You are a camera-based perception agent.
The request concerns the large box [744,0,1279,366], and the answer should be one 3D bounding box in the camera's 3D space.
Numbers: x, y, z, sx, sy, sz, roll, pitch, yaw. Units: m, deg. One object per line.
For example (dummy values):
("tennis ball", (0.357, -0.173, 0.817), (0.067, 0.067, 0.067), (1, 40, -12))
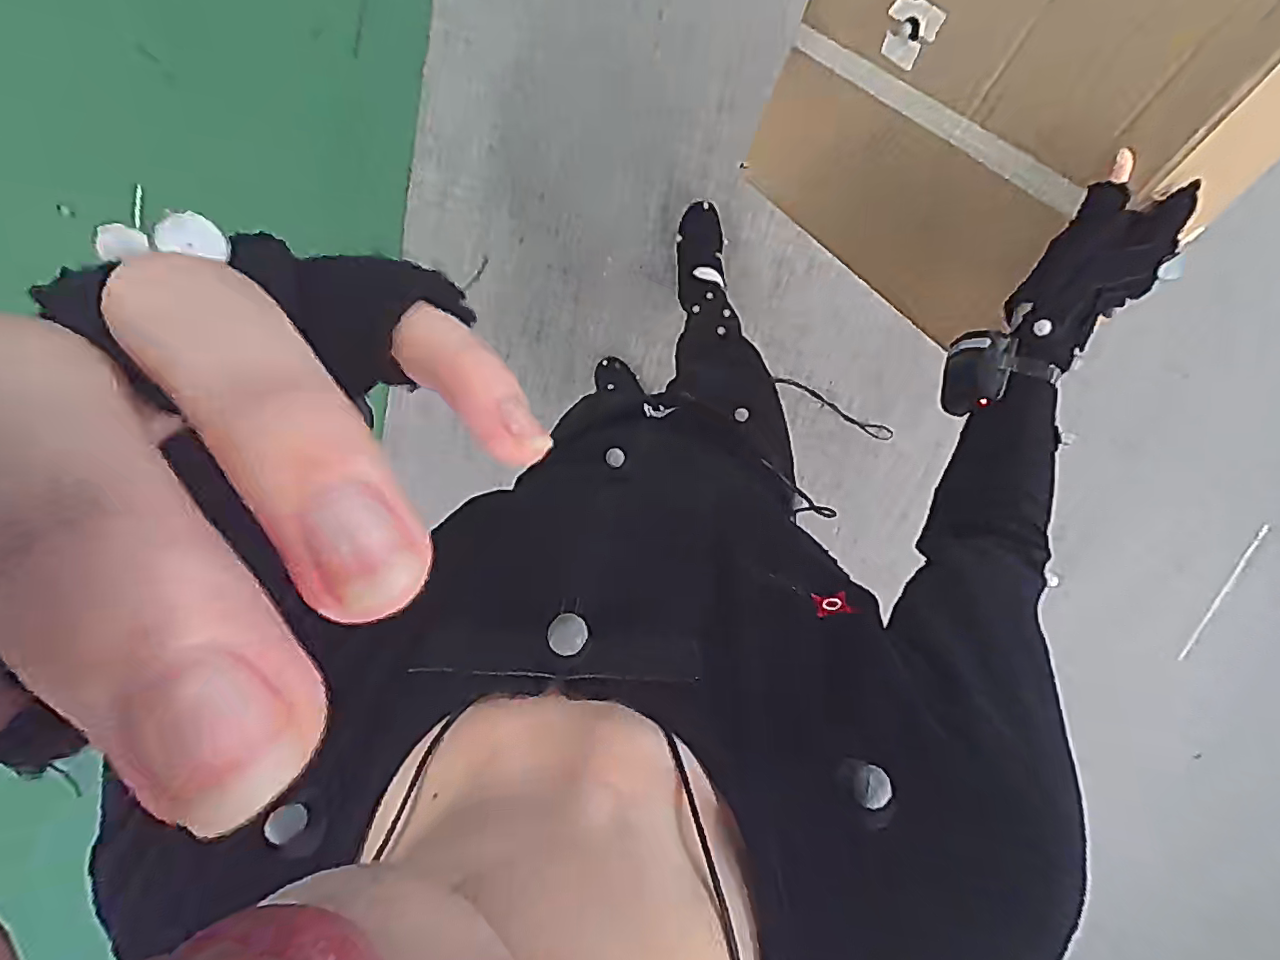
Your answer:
("large box", (0.408, -0.388, 0.621), (0.320, 0.408, 0.320), (-16, 149, -35))
